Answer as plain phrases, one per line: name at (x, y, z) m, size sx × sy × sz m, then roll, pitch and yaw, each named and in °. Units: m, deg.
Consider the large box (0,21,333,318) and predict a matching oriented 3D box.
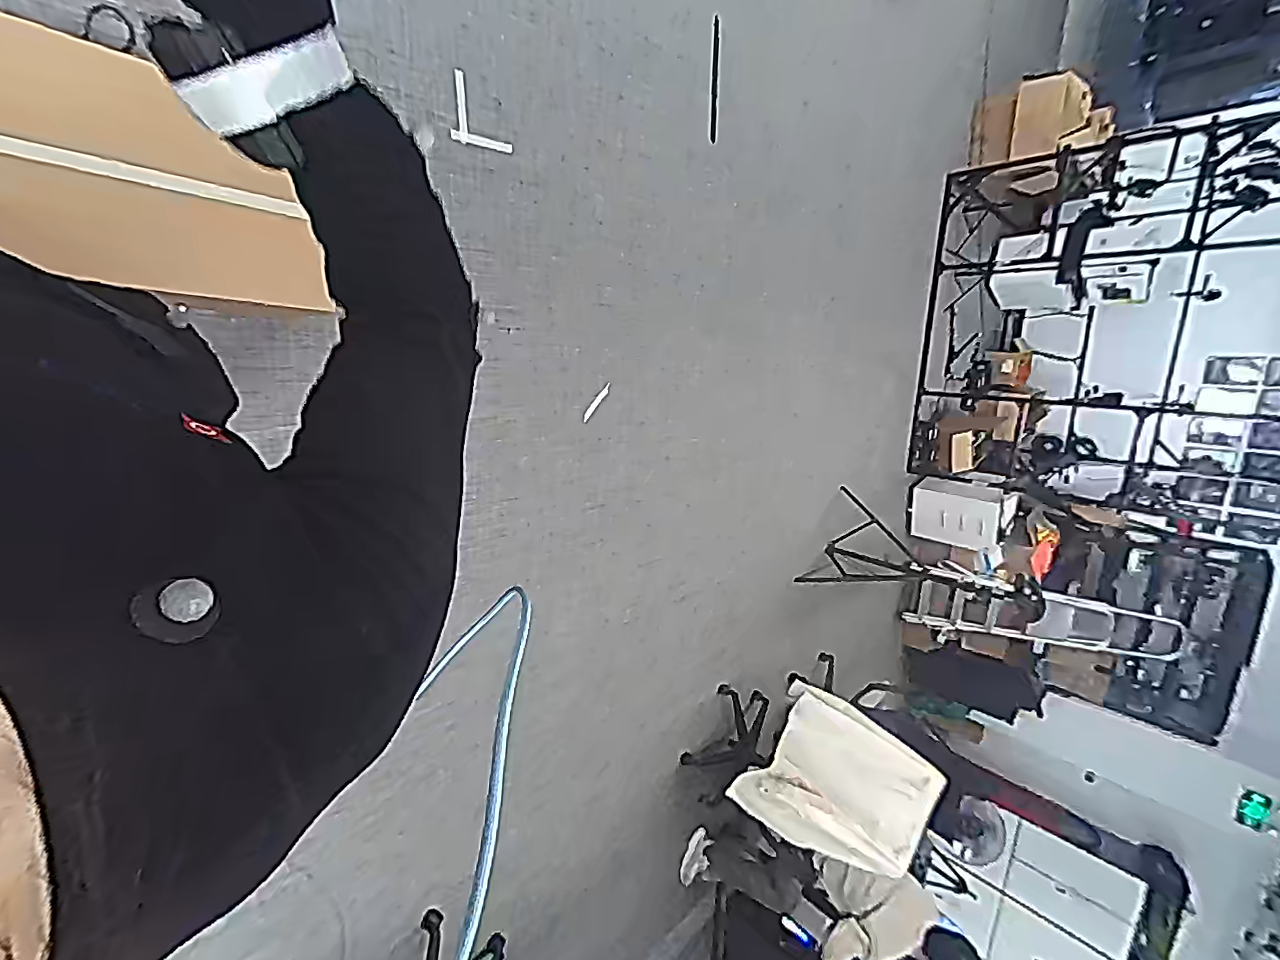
large box at (-0.791, -0.456, 0.907) m, size 0.408 × 0.320 × 0.320 m, roll -7°, pitch 106°, yaw -45°
